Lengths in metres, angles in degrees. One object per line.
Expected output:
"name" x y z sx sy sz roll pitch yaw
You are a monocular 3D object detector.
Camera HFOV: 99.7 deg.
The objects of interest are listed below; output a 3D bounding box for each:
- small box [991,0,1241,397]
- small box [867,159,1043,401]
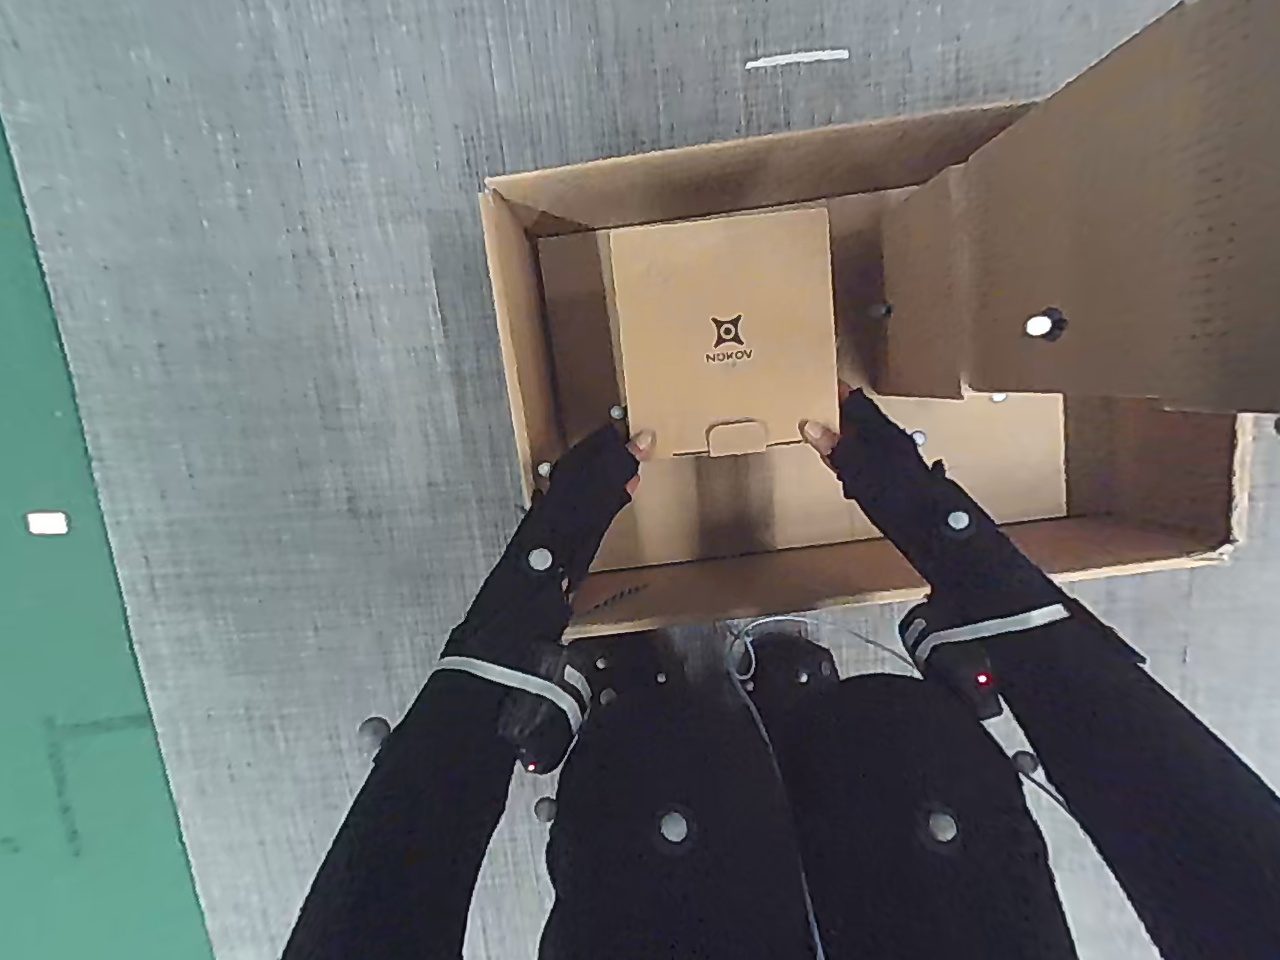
"small box" 0.330 -0.146 0.306 0.168 0.176 0.179 -6 99 3
"small box" 0.322 -0.175 0.486 0.168 0.176 0.179 -10 99 5
